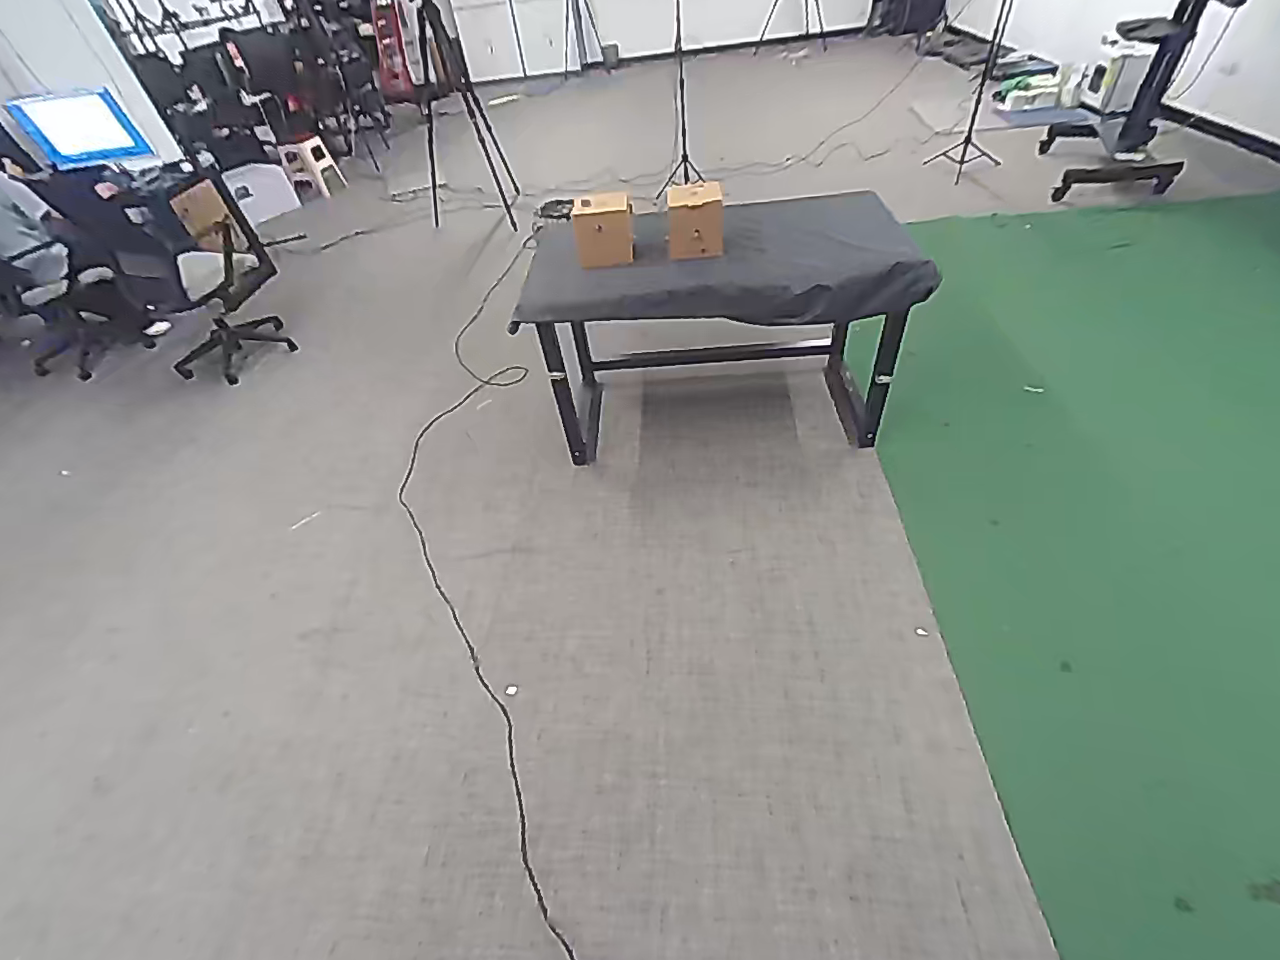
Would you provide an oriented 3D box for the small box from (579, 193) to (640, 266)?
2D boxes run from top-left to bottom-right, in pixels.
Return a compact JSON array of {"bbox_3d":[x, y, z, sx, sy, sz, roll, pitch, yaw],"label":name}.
[{"bbox_3d":[-0.095,-0.816,1.769,0.179,0.176,0.168,-3,45,4],"label":"small box"}]

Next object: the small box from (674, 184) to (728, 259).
[{"bbox_3d":[0.196,-0.826,1.738,0.168,0.176,0.179,-3,46,6],"label":"small box"}]
